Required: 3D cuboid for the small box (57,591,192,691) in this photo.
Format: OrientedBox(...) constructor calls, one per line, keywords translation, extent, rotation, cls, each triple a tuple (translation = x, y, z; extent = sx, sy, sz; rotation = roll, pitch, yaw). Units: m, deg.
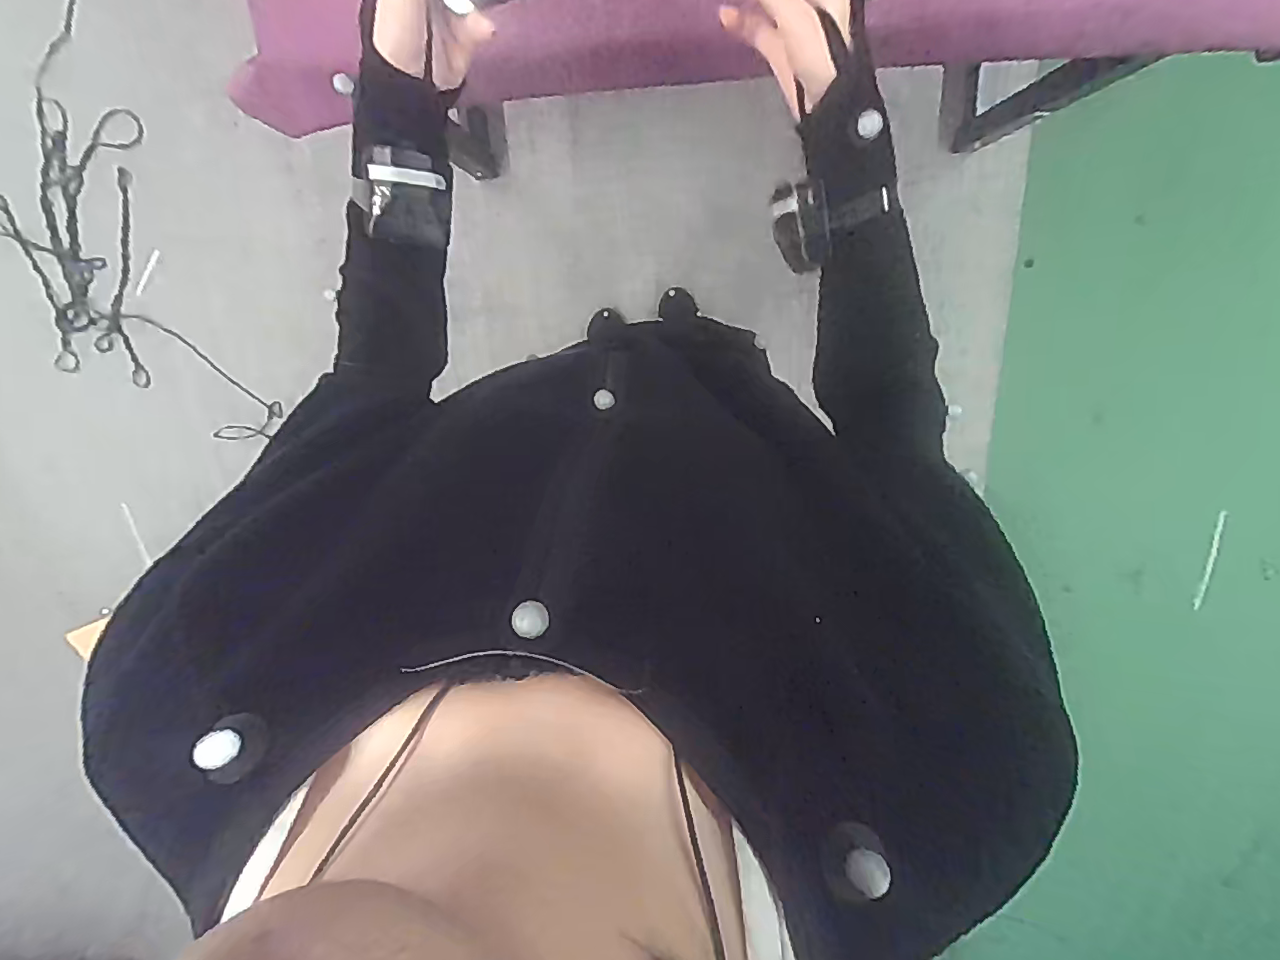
OrientedBox(translation=(-1.359, 0.424, 1.448), extent=(0.179, 0.176, 0.168), rotation=(-20, 107, 9), cls="small box")
